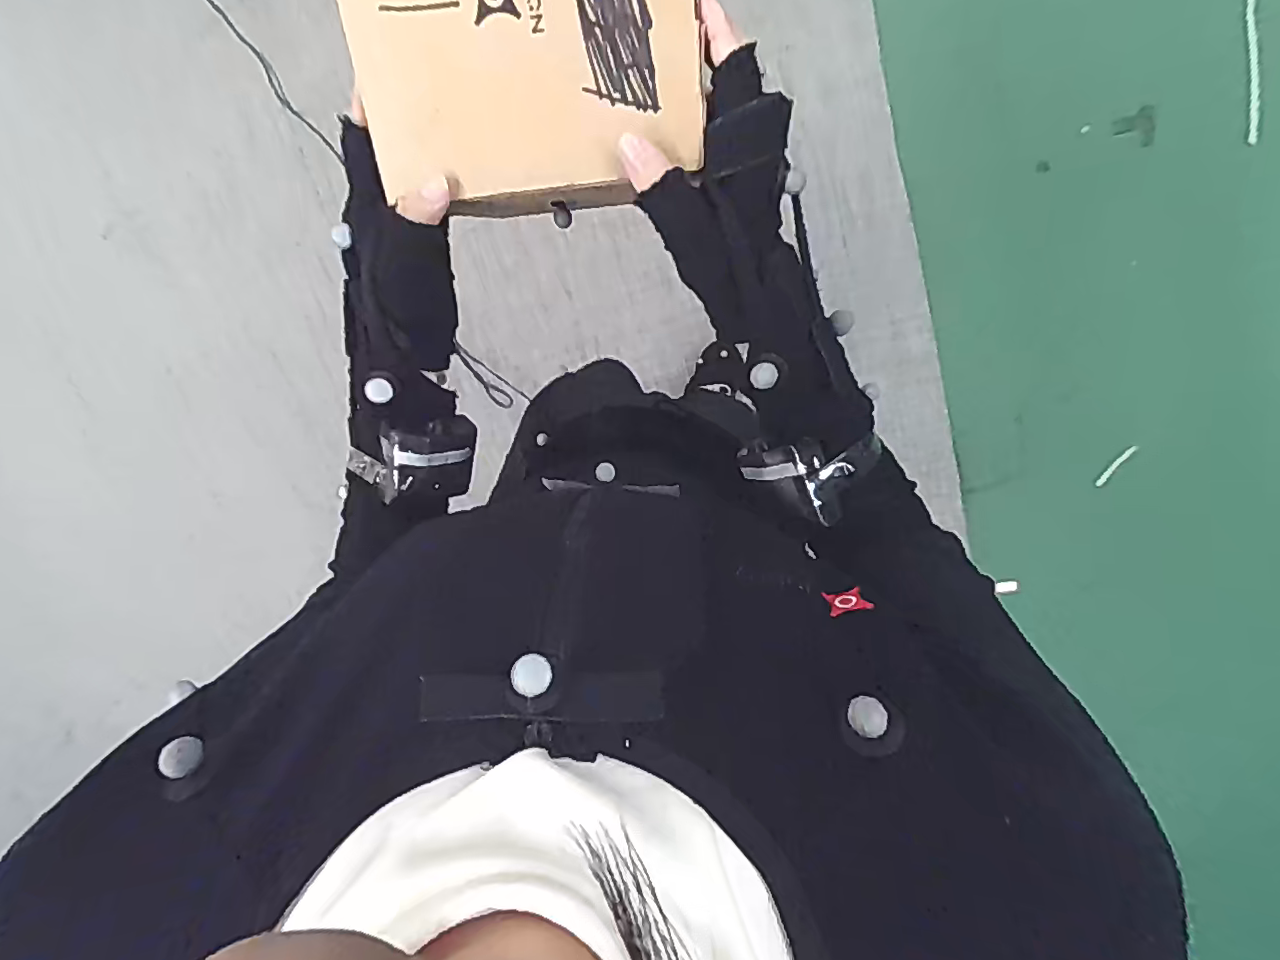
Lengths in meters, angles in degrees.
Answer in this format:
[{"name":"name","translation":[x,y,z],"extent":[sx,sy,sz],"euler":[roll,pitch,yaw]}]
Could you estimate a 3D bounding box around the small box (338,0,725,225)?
[{"name":"small box","translation":[-0.048,-0.255,0.322],"extent":[0.179,0.176,0.168],"euler":[-6,113,9]}]
